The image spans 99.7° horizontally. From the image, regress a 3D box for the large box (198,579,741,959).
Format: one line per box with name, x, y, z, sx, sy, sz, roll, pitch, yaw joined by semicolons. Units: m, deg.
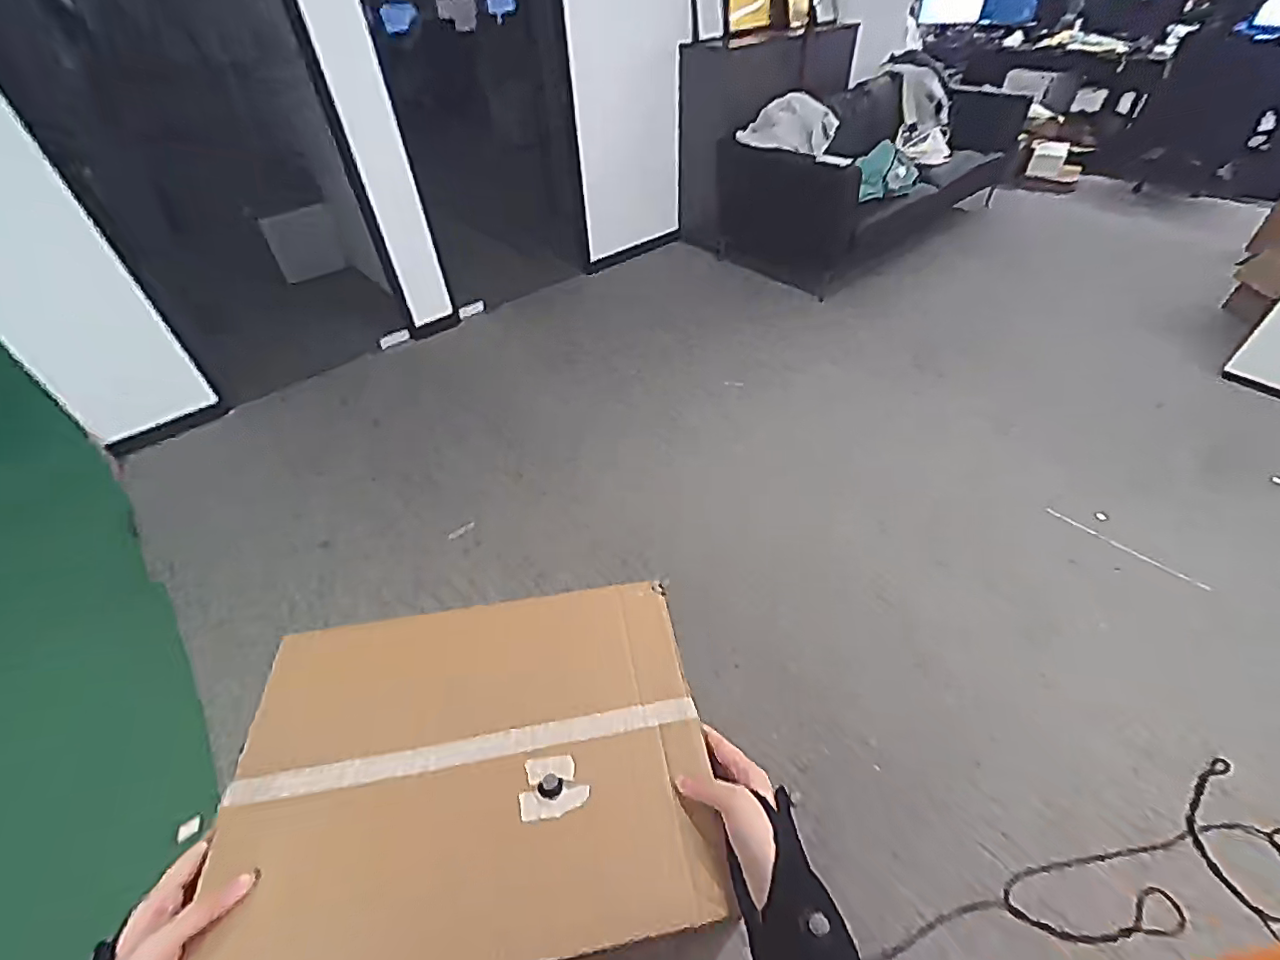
large box;-0.146;0.350;0.598;0.408;0.320;0.320;-6;43;-9
